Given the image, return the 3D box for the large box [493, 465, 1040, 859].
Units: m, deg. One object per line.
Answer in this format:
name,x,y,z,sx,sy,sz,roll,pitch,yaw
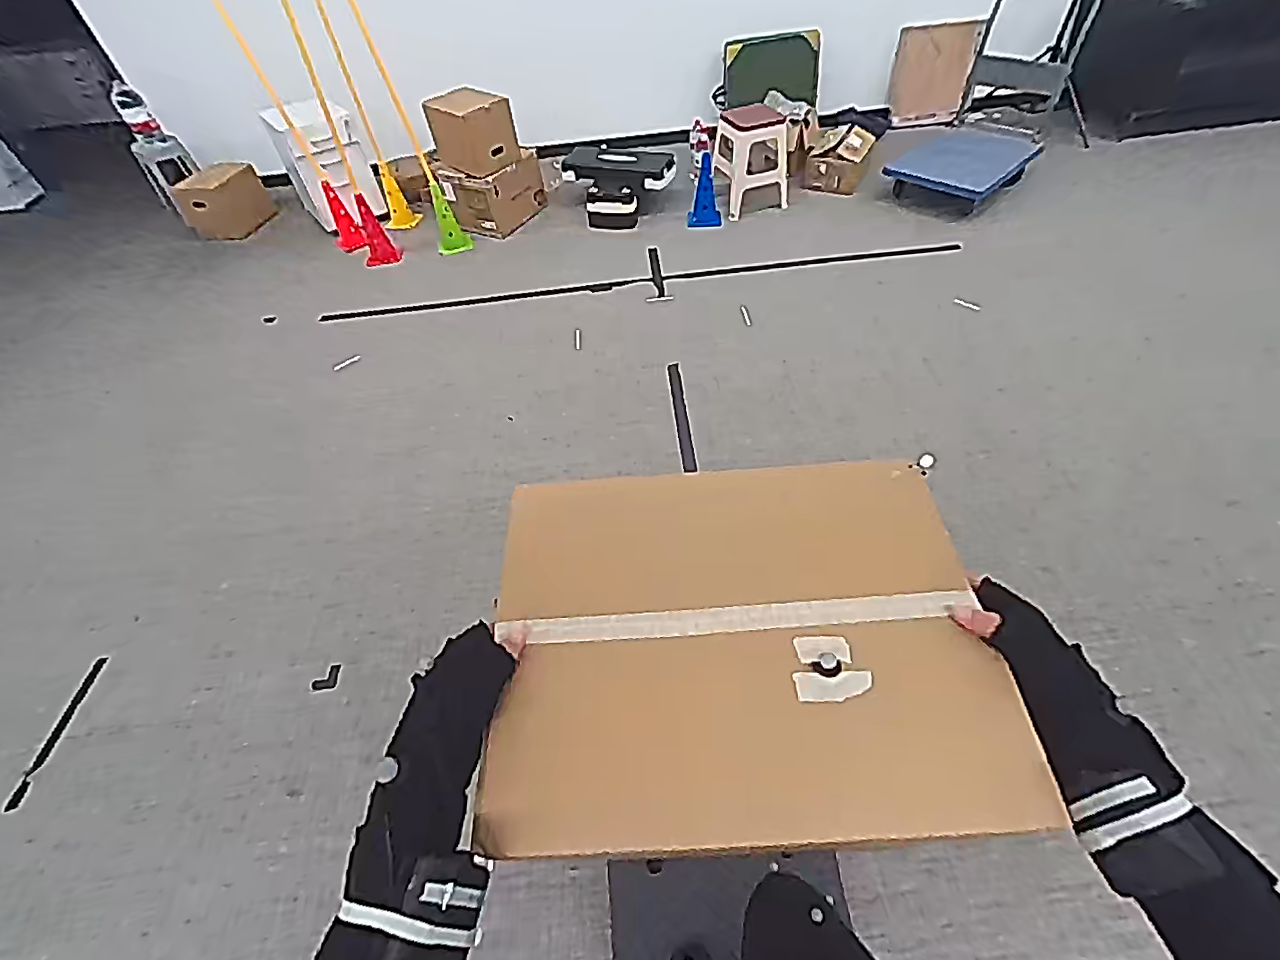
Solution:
large box,0.090,0.211,0.593,0.408,0.320,0.320,-4,54,2
